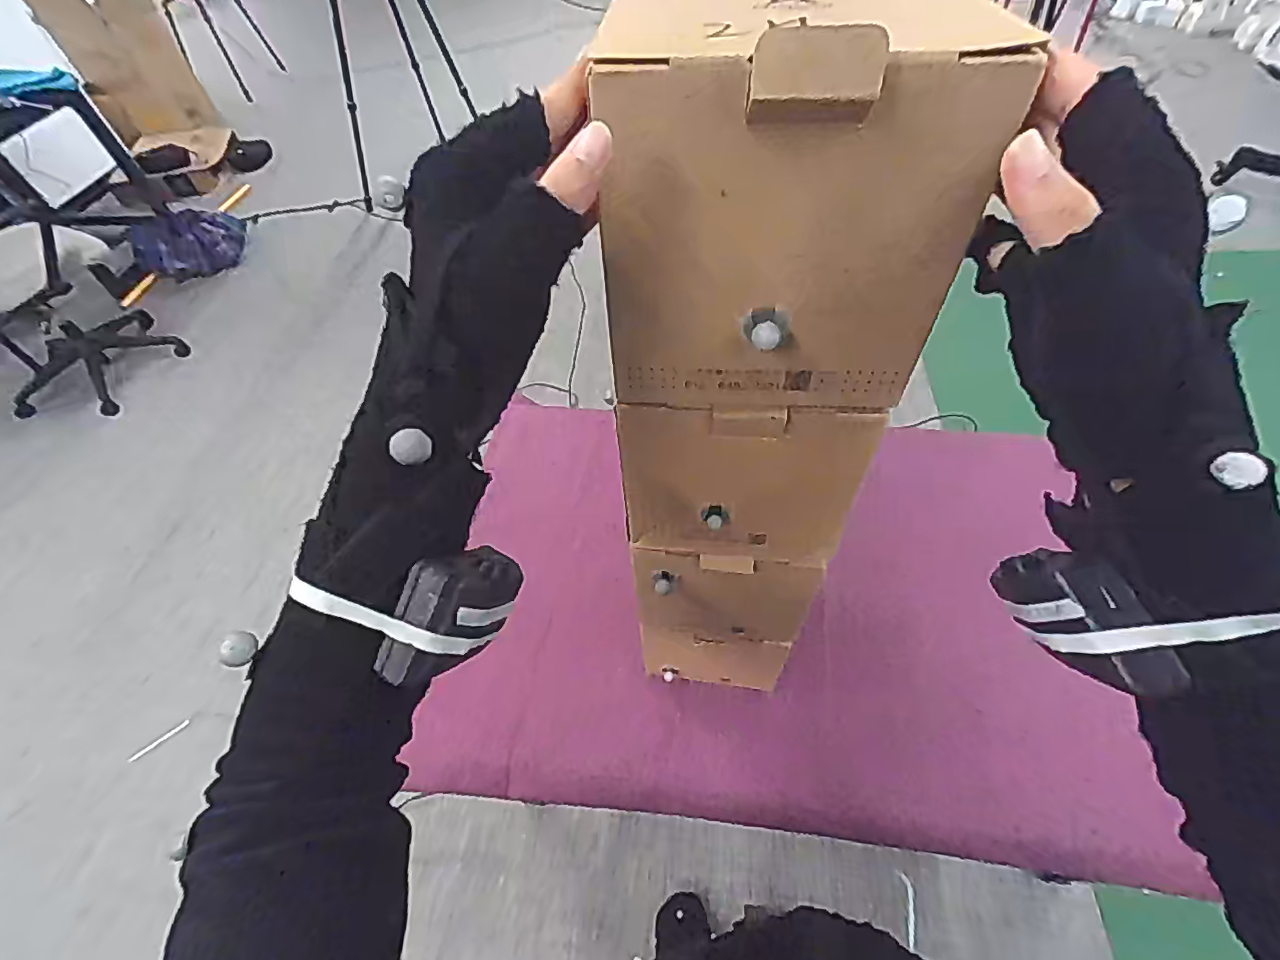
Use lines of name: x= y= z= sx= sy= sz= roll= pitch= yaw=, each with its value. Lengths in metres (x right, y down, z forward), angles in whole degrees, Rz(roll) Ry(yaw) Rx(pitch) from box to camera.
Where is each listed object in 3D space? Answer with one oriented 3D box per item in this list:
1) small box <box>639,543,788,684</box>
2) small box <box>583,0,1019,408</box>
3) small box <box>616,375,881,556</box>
small box: x=0.098 y=0.147 z=0.700 sx=0.168 sy=0.176 sz=0.179 roll=5 pitch=53 yaw=8
small box: x=0.068 y=-0.164 z=0.318 sx=0.168 sy=0.176 sz=0.179 roll=2 pitch=51 yaw=5
small box: x=0.077 y=-0.059 z=0.447 sx=0.168 sy=0.176 sz=0.179 roll=3 pitch=52 yaw=6
